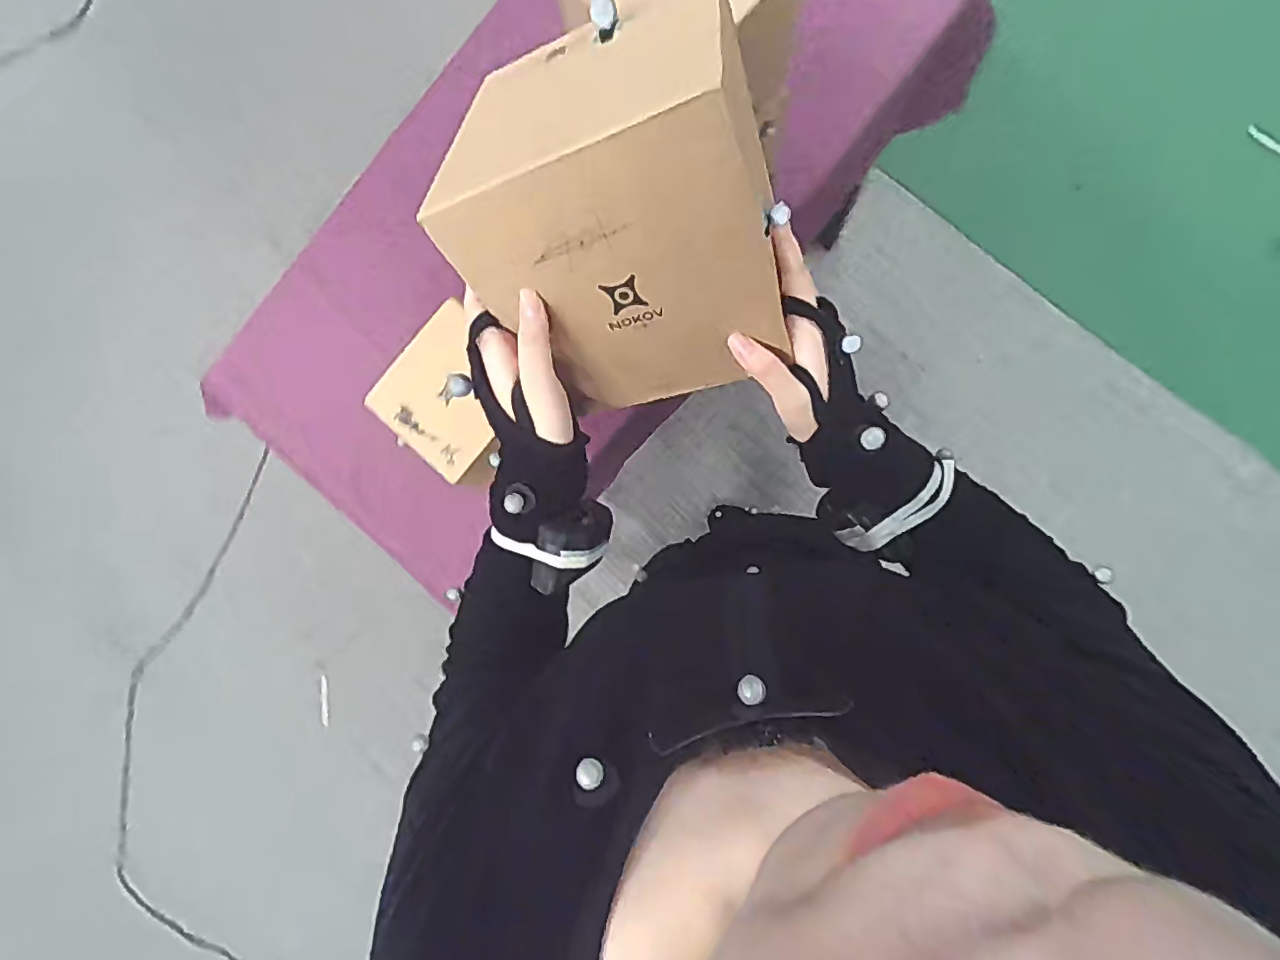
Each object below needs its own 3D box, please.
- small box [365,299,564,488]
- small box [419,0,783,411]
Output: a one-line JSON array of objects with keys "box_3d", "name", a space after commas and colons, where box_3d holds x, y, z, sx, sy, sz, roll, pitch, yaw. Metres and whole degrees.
[{"box_3d": [-0.225, -0.107, 0.749, 0.168, 0.176, 0.179, 41, 91, 8], "name": "small box"}, {"box_3d": [-0.003, -0.175, 0.359, 0.168, 0.179, 0.176, -8, 55, 21], "name": "small box"}]
